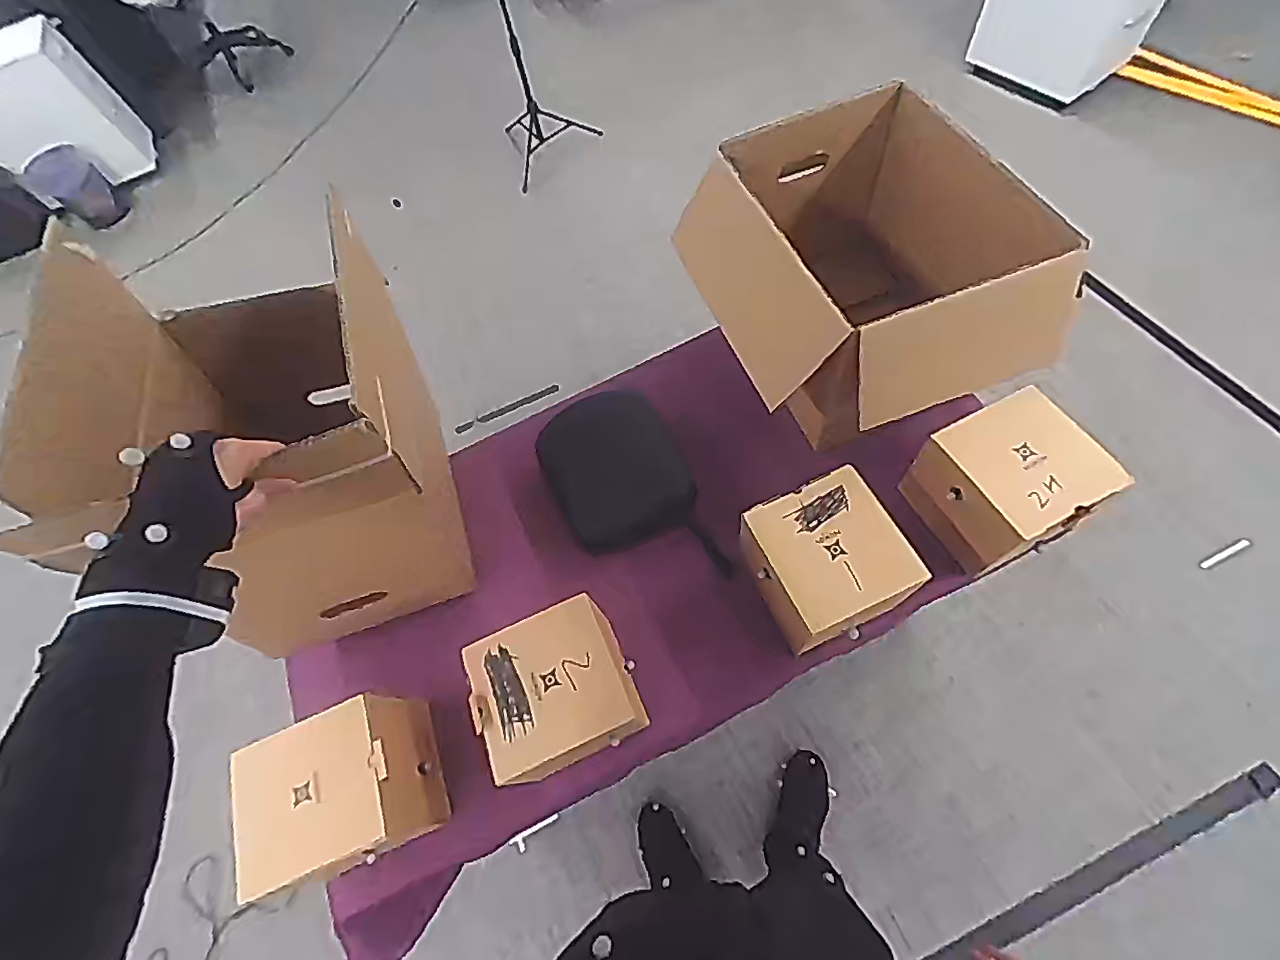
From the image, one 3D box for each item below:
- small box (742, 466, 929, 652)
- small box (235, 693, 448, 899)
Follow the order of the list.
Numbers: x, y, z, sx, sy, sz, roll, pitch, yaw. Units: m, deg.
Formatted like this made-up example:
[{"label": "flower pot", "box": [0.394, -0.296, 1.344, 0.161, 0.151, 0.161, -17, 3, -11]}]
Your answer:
[{"label": "small box", "box": [0.251, 0.116, 0.751, 0.168, 0.176, 0.179, -25, 63, -3]}, {"label": "small box", "box": [-0.380, 0.401, 0.705, 0.179, 0.176, 0.168, -23, 63, -5]}]
